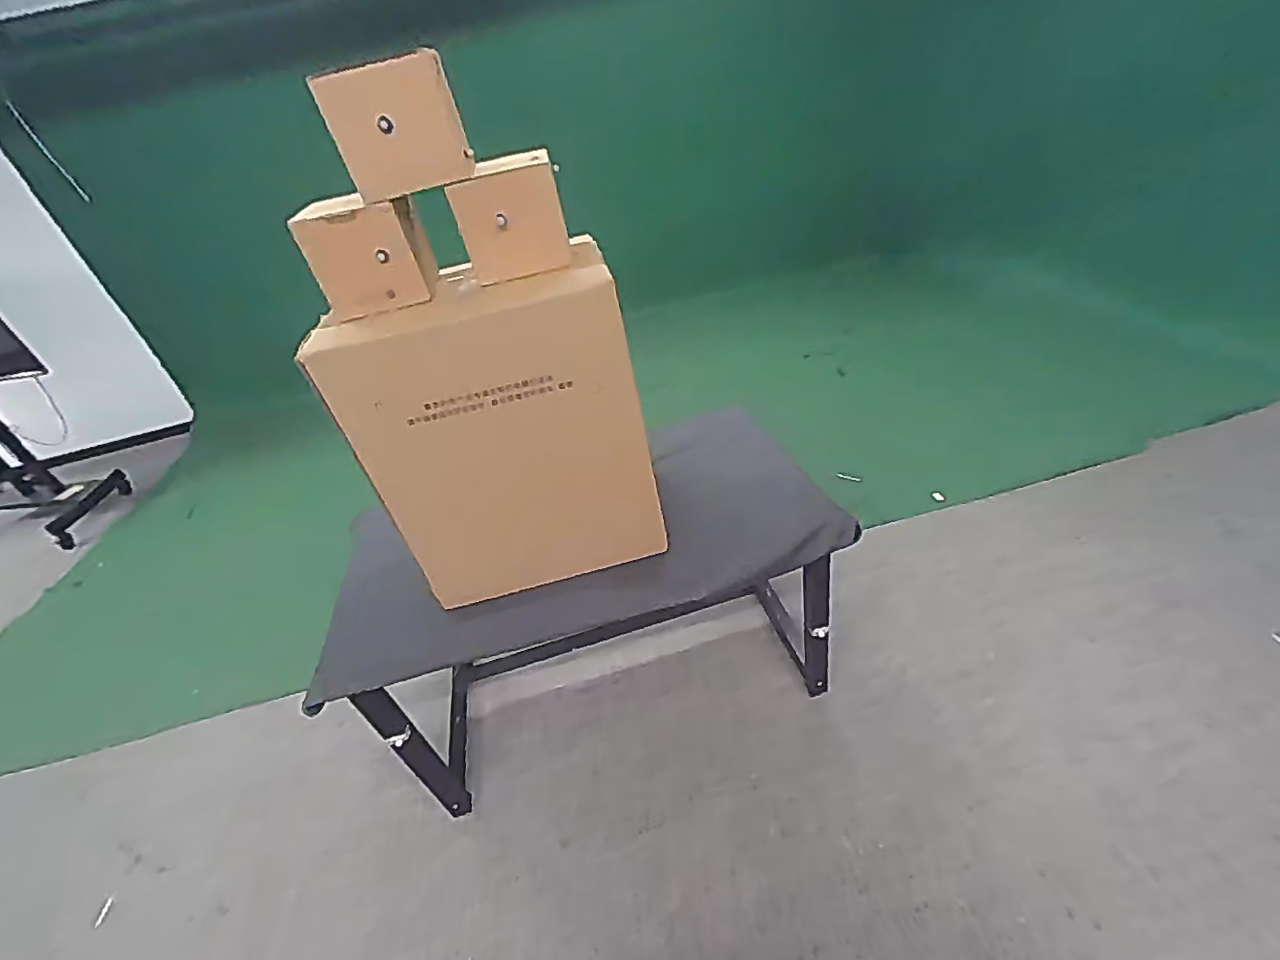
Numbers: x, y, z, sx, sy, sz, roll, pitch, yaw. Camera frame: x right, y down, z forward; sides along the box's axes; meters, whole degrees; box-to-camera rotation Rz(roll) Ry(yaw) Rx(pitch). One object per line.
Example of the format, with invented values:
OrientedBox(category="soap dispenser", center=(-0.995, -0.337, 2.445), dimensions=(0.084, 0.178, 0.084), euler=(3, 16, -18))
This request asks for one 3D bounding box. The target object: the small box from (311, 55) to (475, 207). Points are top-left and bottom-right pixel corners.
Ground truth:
OrientedBox(category="small box", center=(-0.380, -0.562, 0.874), dimensions=(0.179, 0.176, 0.168), euler=(-17, 38, -2))

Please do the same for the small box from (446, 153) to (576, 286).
OrientedBox(category="small box", center=(-0.226, -0.470, 0.981), dimensions=(0.179, 0.176, 0.168), euler=(-15, 39, -1))

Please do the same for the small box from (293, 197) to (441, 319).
OrientedBox(category="small box", center=(-0.473, -0.403, 0.971), dimensions=(0.168, 0.176, 0.179), euler=(-14, 37, -4))
